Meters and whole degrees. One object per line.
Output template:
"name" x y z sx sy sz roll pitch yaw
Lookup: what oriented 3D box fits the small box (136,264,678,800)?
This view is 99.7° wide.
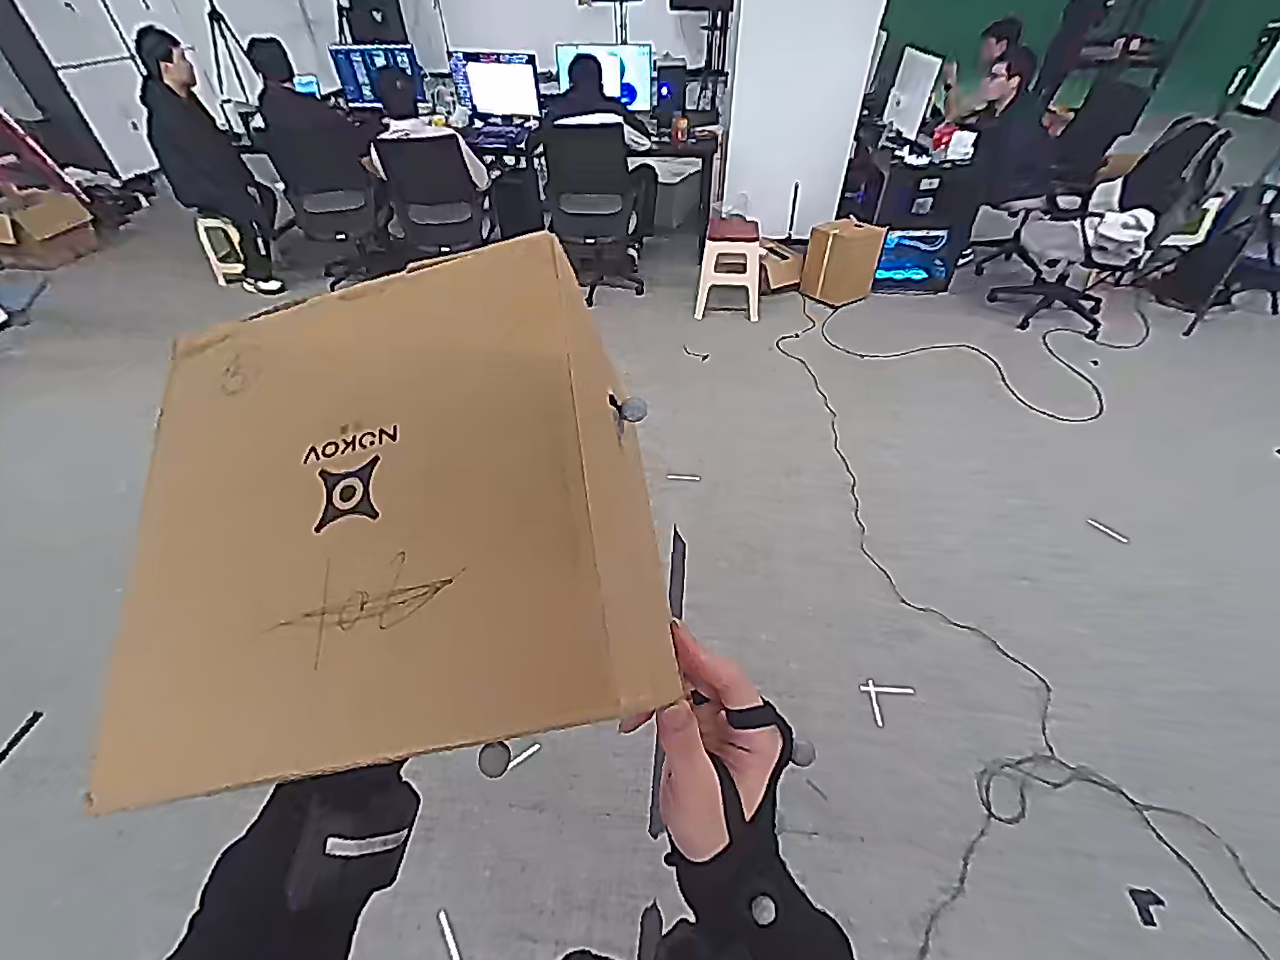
"small box" -0.084 0.035 0.272 0.168 0.176 0.179 -14 68 6
